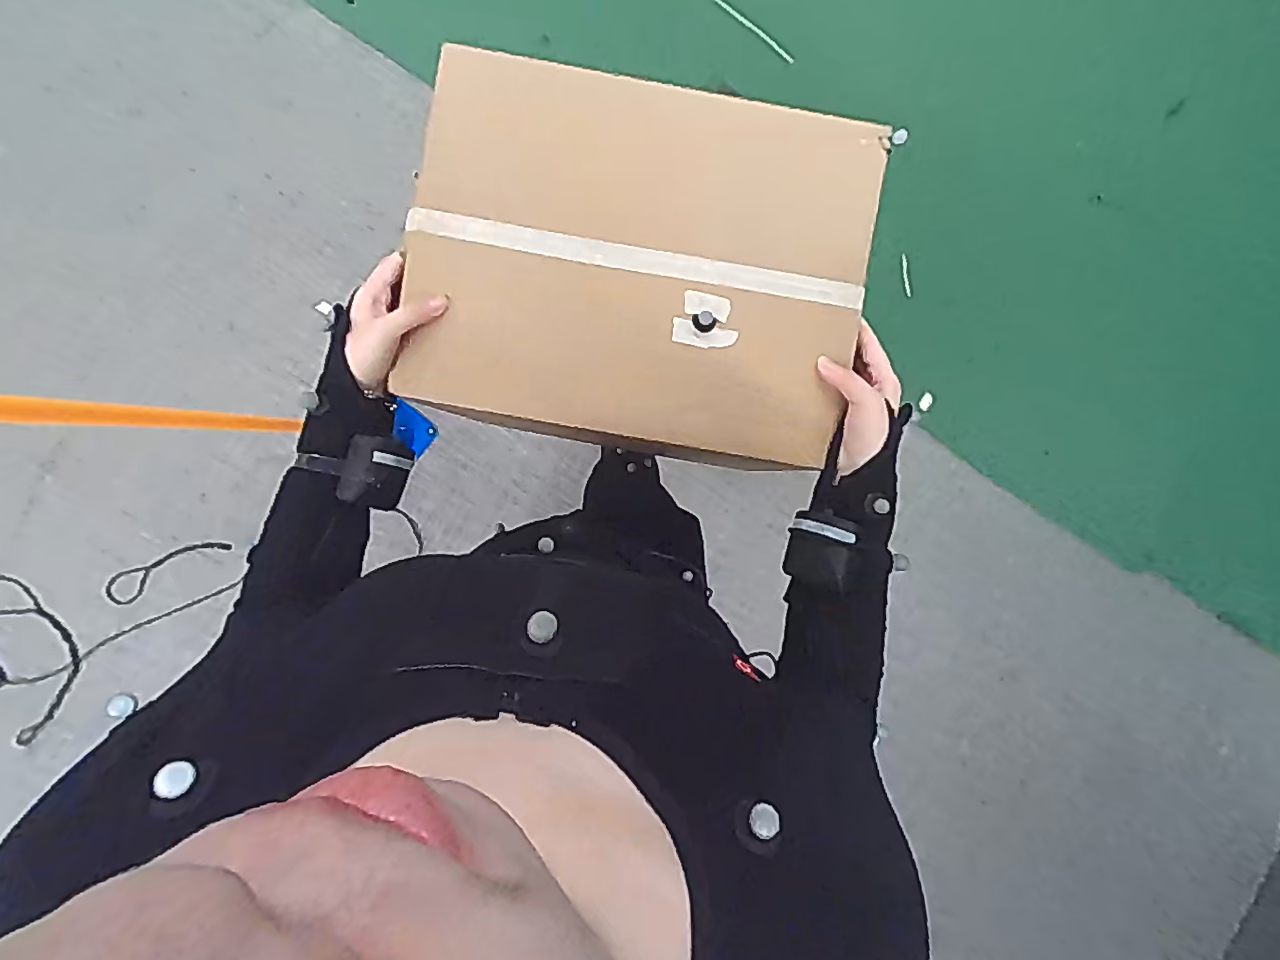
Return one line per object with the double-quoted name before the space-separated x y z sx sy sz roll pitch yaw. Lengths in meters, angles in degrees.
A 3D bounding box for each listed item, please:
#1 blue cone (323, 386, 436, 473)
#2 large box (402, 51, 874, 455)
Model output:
"blue cone" -0.640 -0.127 1.254 0.193 0.380 0.192 41 86 -7
"large box" -0.007 -0.210 0.639 0.408 0.320 0.320 8 92 -2
